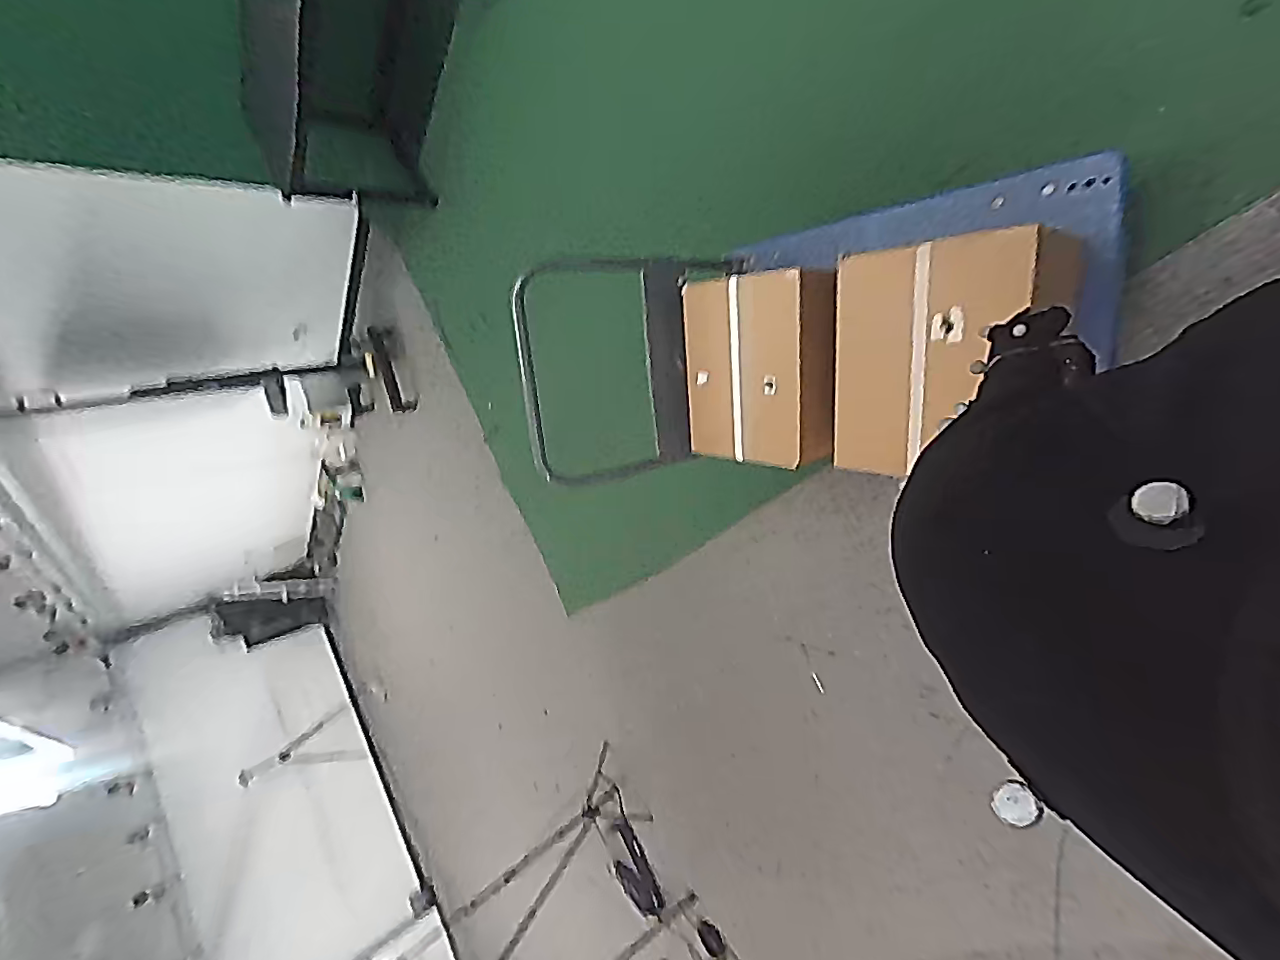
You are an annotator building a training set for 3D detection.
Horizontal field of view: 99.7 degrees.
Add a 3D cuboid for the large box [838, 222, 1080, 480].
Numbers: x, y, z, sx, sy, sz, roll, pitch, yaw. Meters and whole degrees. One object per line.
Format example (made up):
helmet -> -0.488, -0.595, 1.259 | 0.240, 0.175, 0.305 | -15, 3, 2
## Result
large box -> 0.603, -0.238, 1.042 | 0.320, 0.320, 0.408 | 11, 111, 47
